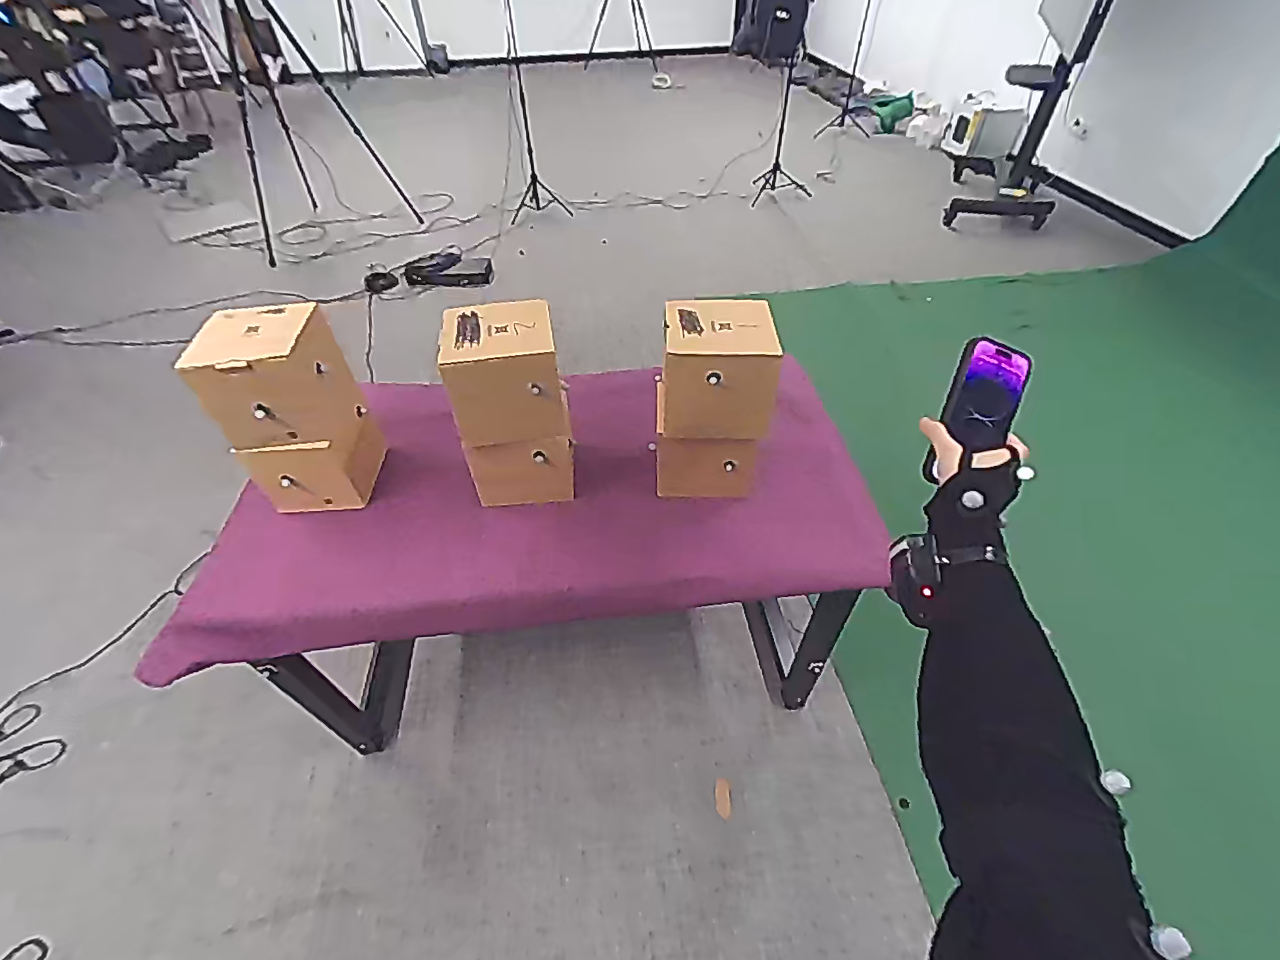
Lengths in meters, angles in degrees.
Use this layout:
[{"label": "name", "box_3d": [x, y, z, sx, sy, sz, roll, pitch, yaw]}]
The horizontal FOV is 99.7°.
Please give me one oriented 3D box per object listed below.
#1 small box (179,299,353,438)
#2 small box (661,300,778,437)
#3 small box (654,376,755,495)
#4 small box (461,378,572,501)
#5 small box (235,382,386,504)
[{"label": "small box", "box_3d": [-0.618, -0.185, 0.925, 0.168, 0.176, 0.179, -6, 47, -6]}, {"label": "small box", "box_3d": [0.123, -0.187, 0.912, 0.179, 0.176, 0.168, 1, 46, 2]}, {"label": "small box", "box_3d": [0.117, -0.085, 1.041, 0.179, 0.176, 0.168, 1, 46, 3]}, {"label": "small box", "box_3d": [-0.224, -0.075, 1.037, 0.179, 0.176, 0.168, -4, 47, -2]}, {"label": "small box", "box_3d": [-0.615, -0.066, 1.039, 0.168, 0.176, 0.179, -3, 47, -2]}]
